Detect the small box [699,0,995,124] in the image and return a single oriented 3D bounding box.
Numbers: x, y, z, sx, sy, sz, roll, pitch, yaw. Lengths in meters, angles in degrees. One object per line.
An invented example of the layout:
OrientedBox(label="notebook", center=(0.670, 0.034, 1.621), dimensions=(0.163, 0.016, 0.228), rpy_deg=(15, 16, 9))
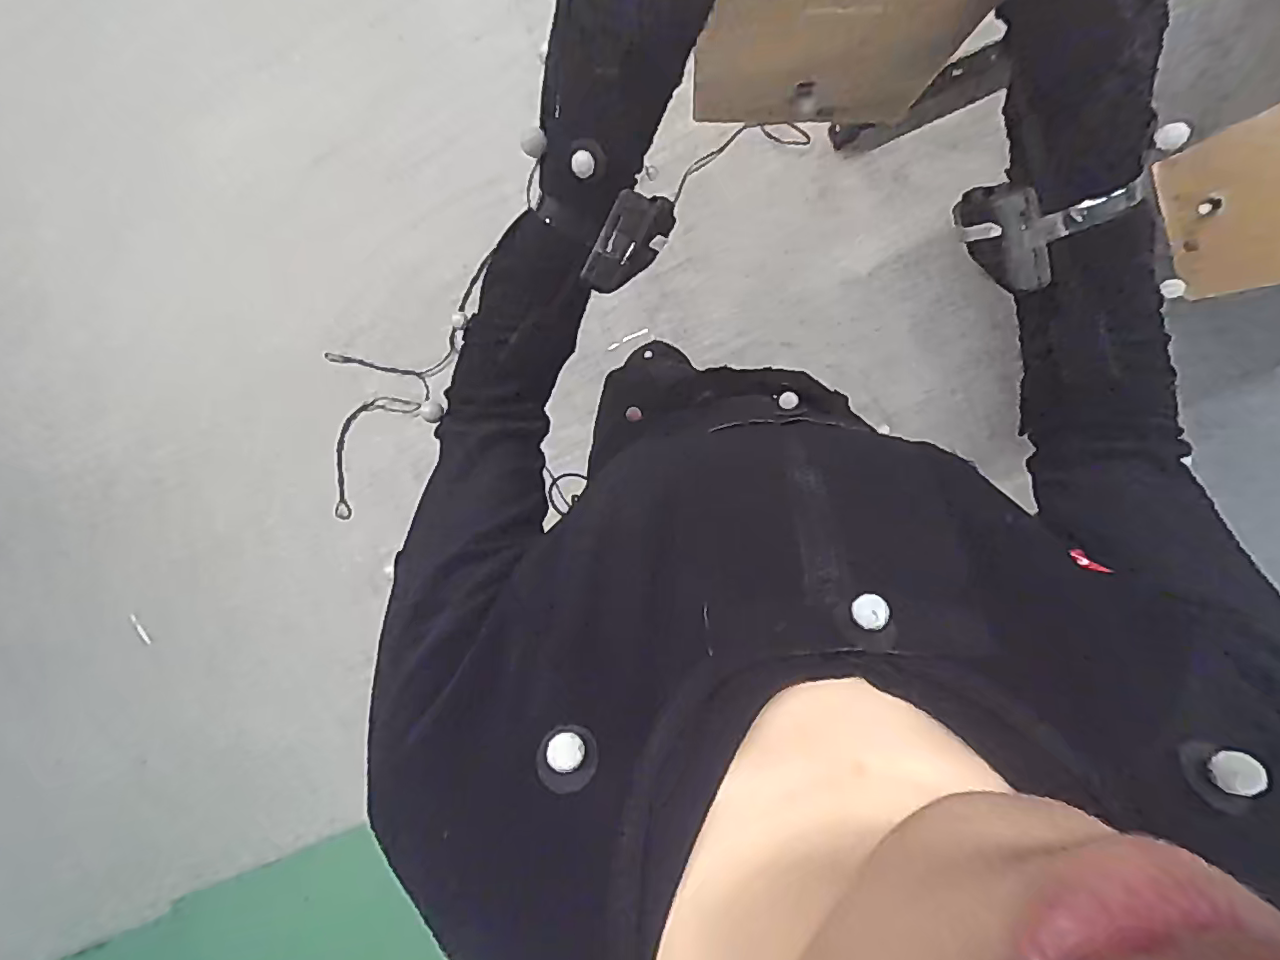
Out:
OrientedBox(label="small box", center=(0.127, -0.367, 0.352), dimensions=(0.168, 0.176, 0.179), rpy_deg=(3, 102, 5))

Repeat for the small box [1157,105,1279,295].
OrientedBox(label="small box", center=(0.699, -0.308, 0.547), dimensions=(0.179, 0.176, 0.168), rpy_deg=(-21, 97, 7))
